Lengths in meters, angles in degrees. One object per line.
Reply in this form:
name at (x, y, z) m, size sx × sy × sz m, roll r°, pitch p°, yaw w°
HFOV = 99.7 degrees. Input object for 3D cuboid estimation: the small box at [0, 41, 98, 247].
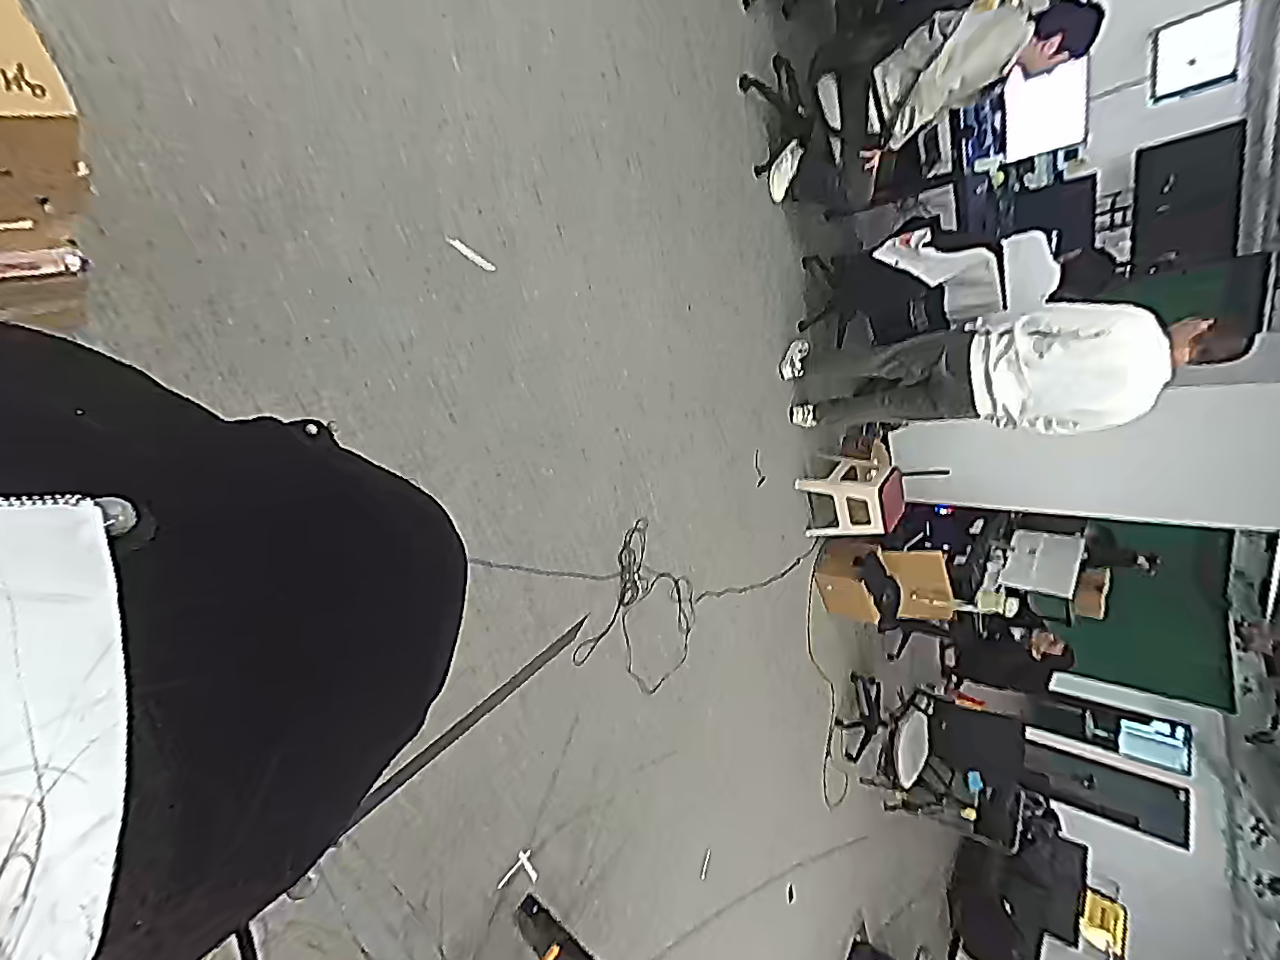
small box at (-0.769, -0.365, 0.604) m, size 0.179 × 0.176 × 0.168 m, roll -36°, pitch 119°, yaw -39°
